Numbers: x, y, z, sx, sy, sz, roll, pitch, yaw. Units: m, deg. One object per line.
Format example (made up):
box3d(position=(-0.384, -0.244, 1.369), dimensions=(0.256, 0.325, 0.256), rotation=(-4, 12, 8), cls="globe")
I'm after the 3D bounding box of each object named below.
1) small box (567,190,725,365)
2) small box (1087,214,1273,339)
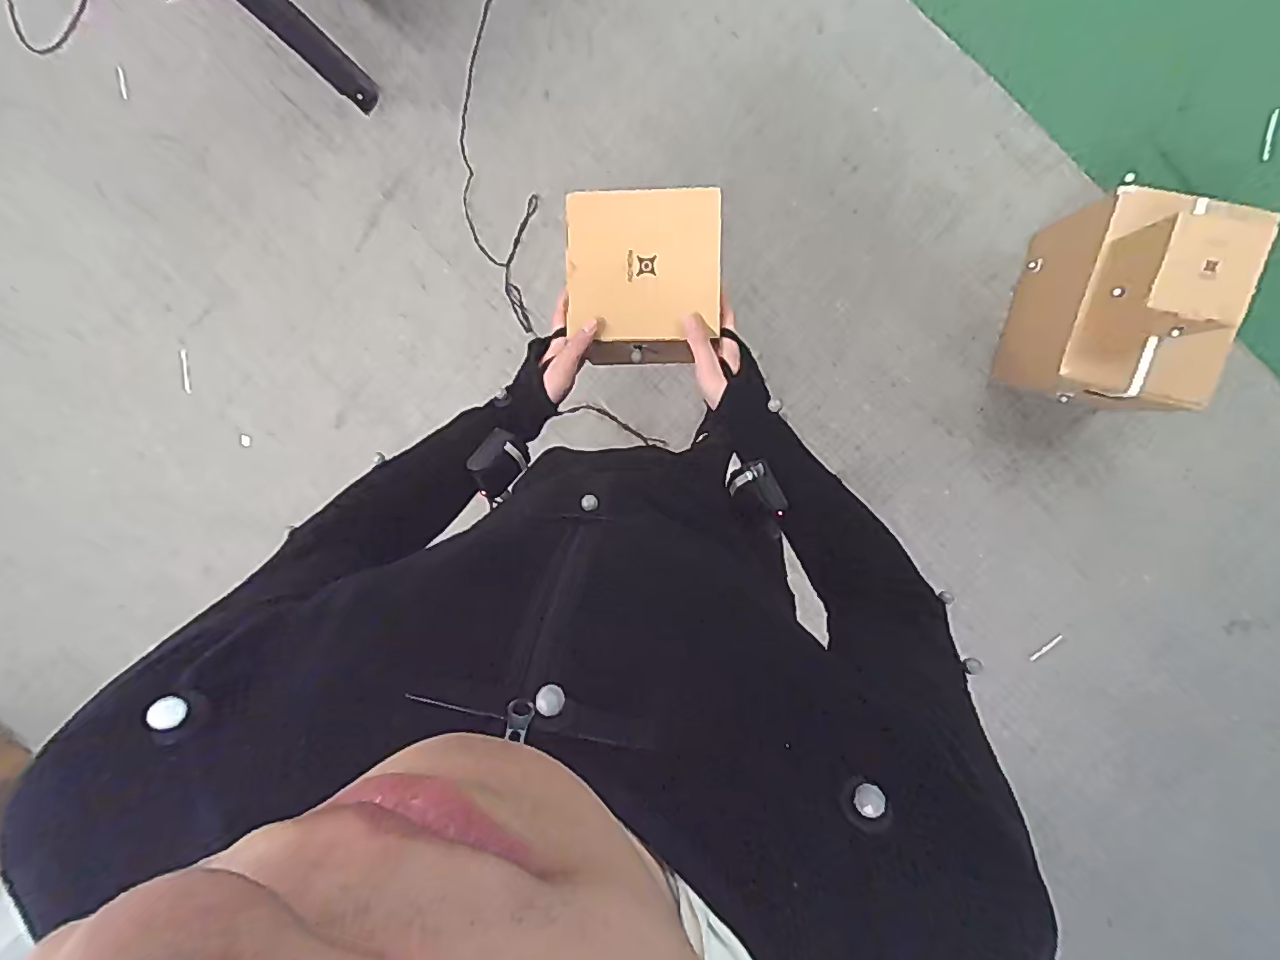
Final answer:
box3d(position=(0.012, -0.239, 0.676), dimensions=(0.179, 0.176, 0.168), rotation=(0, 94, 6), cls="small box")
box3d(position=(1.024, -0.382, 1.048), dimensions=(0.168, 0.176, 0.179), rotation=(14, 99, 5), cls="small box")
